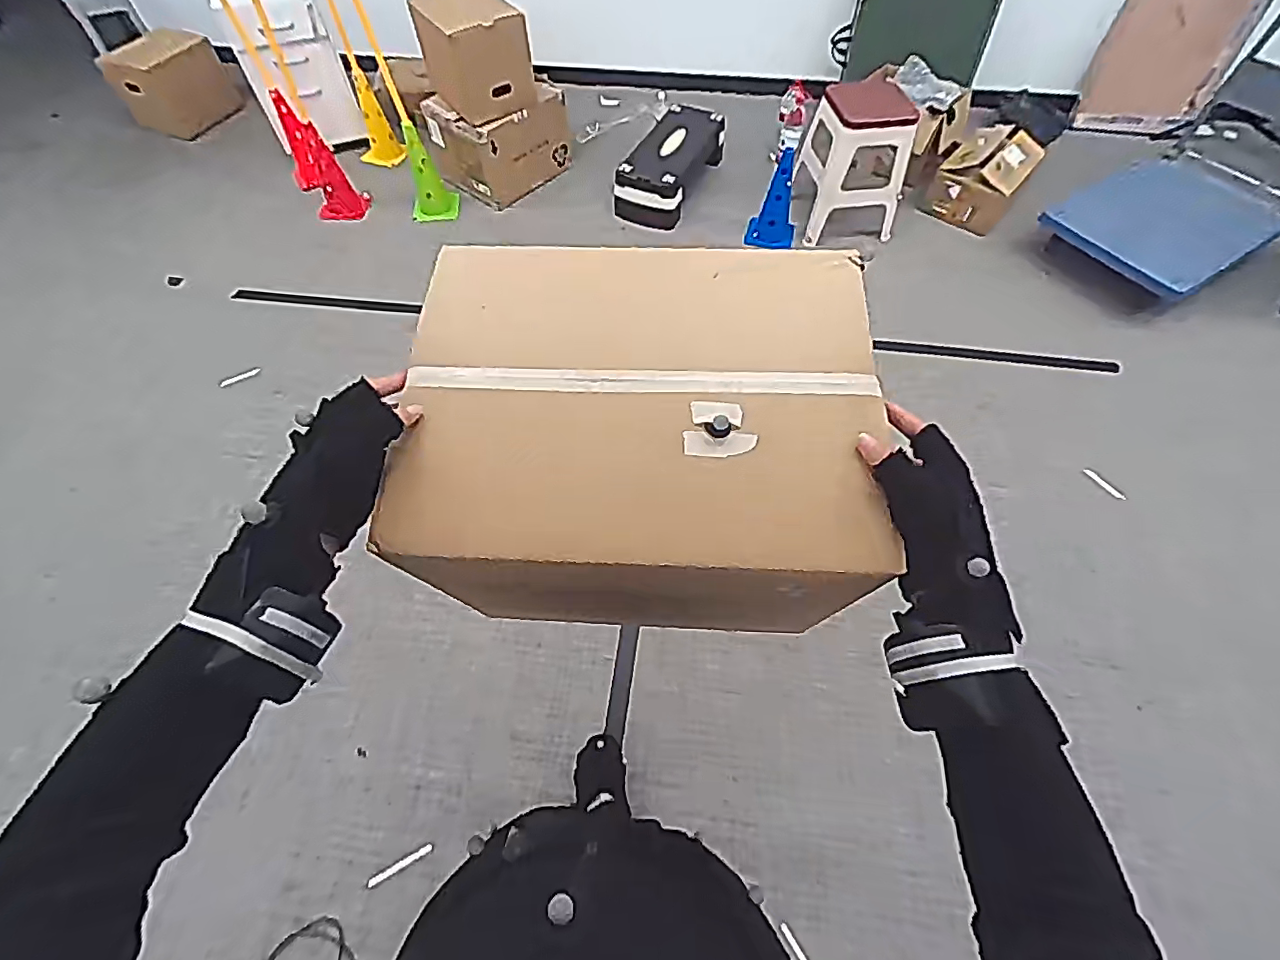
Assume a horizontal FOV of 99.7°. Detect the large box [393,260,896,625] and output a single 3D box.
[{"bbox_3d":[0.007,-0.018,0.616,0.408,0.320,0.320,2,67,2],"label":"large box"}]
